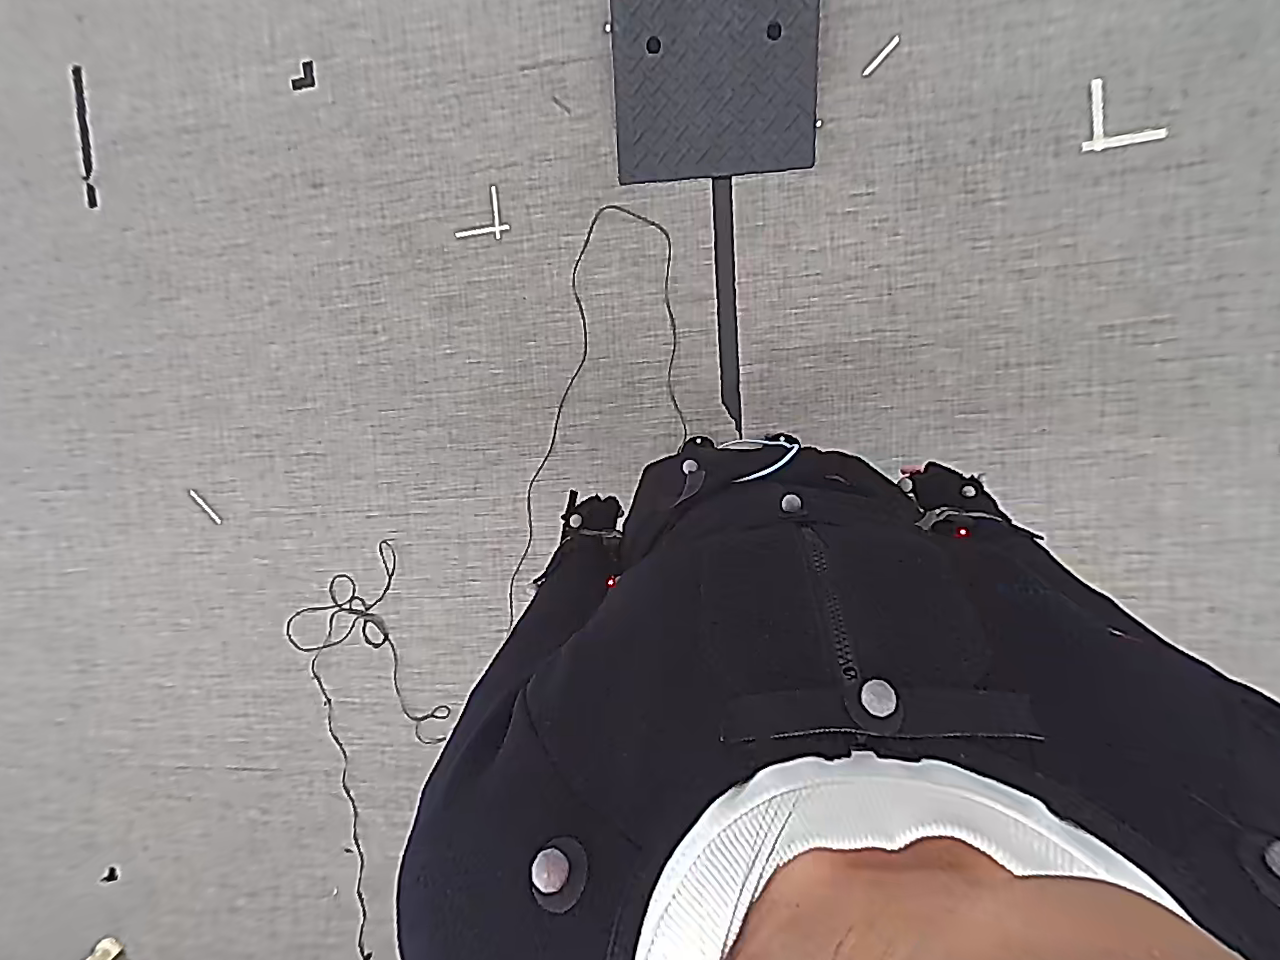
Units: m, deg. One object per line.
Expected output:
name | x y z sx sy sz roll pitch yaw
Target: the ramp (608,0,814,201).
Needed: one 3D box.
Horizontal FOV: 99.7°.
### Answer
ramp | 0.160 -1.231 1.279 0.509 0.206 0.991 -4 94 8
